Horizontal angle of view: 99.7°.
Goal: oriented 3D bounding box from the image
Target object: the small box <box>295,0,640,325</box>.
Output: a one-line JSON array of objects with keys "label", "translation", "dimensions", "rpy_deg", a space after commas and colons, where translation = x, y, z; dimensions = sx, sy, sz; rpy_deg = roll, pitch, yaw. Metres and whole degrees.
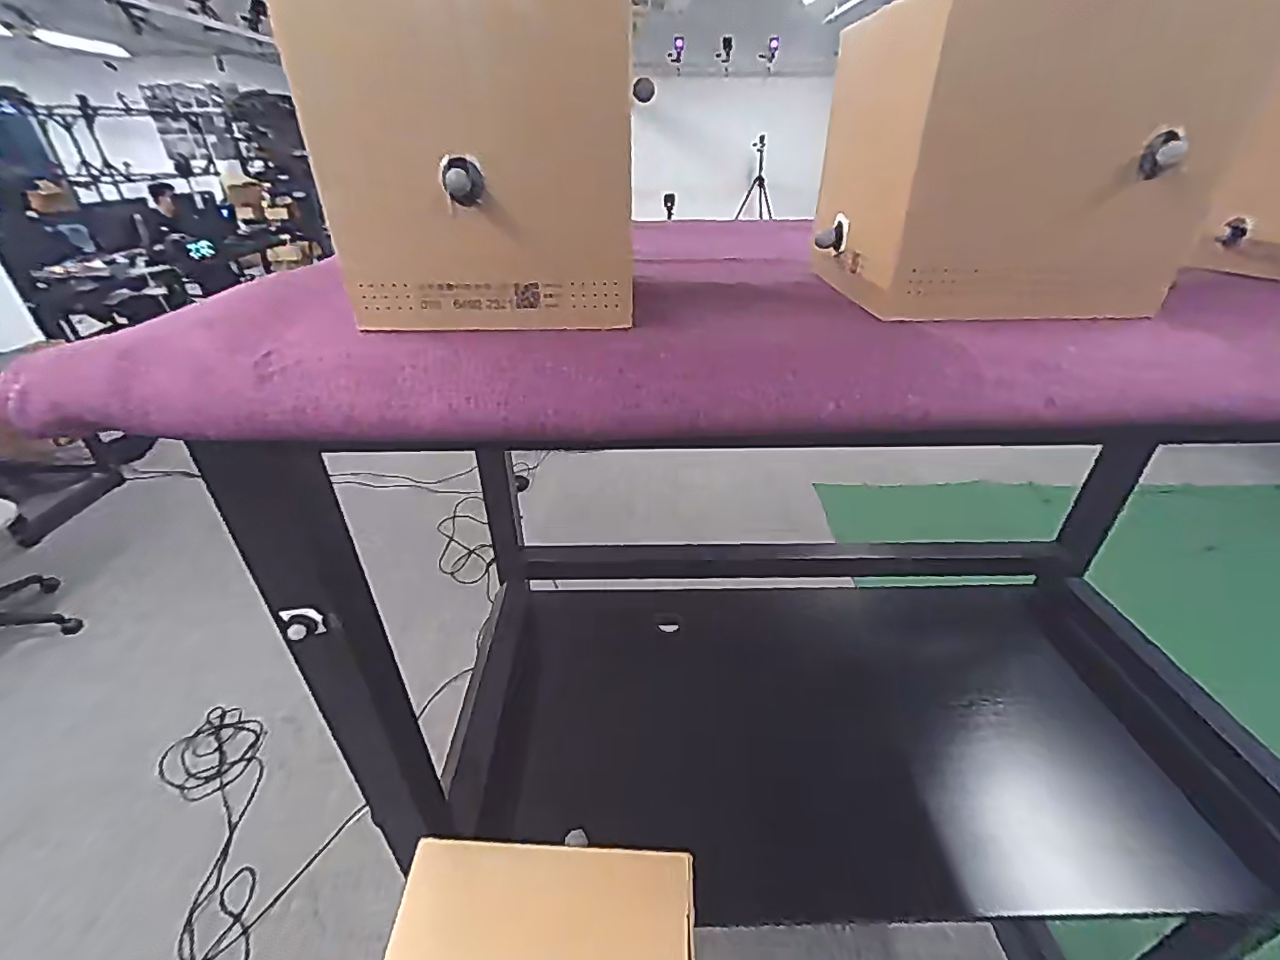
[{"label": "small box", "translation": [-0.083, -0.208, 0.364], "dimensions": [0.168, 0.176, 0.179], "rpy_deg": [0, 32, -2]}]

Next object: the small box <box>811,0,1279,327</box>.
[{"label": "small box", "translation": [0.238, -0.211, 0.377], "dimensions": [0.179, 0.176, 0.168], "rpy_deg": [-2, 31, -1]}]
